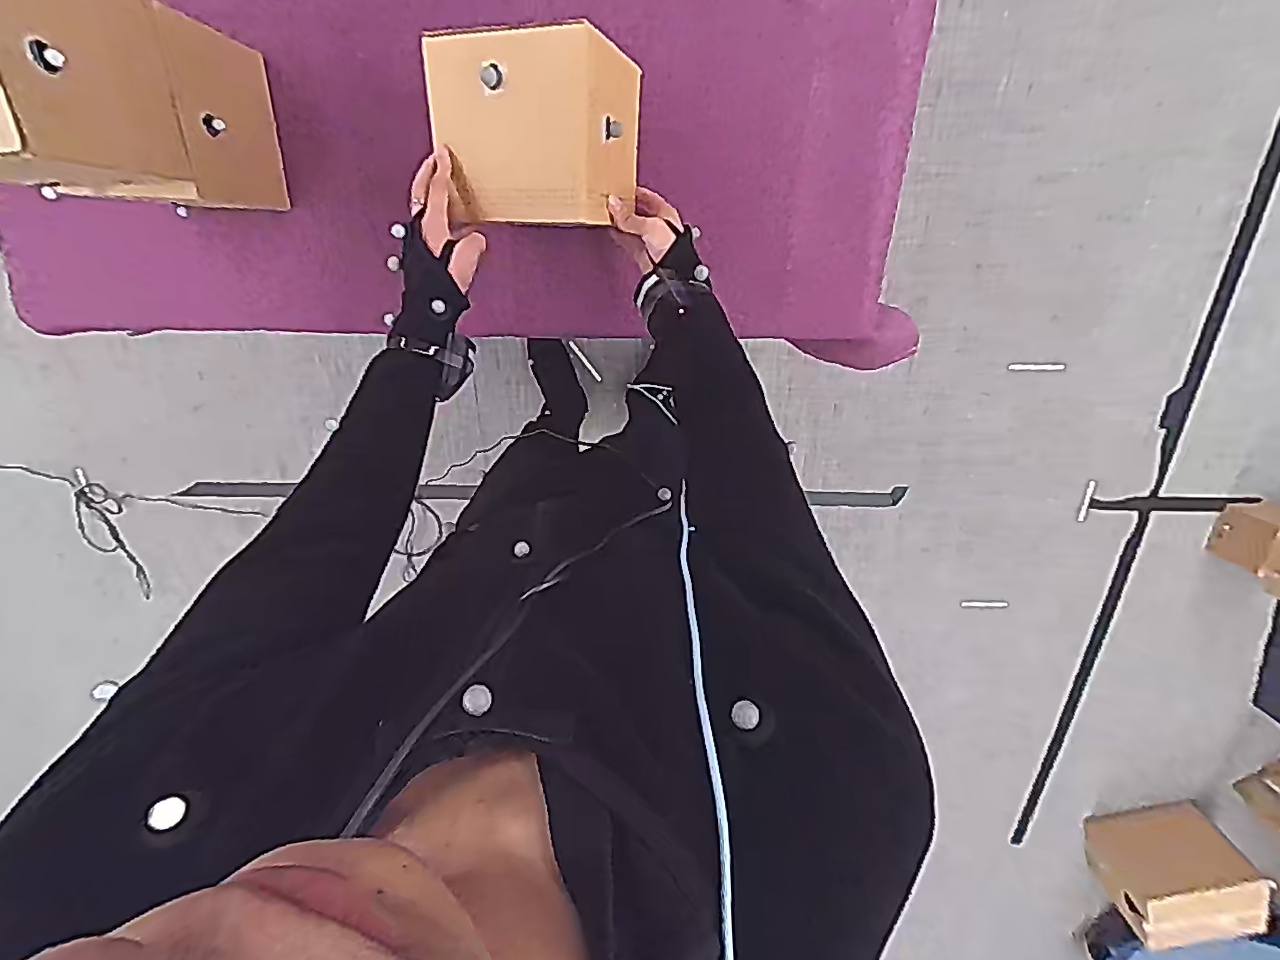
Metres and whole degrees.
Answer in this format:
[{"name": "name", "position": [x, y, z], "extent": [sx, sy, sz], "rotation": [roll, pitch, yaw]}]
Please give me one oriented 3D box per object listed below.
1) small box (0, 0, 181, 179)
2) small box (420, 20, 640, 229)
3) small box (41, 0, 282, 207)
[{"name": "small box", "position": [-0.553, -0.362, 0.461], "extent": [0.168, 0.176, 0.179], "rotation": [-1, 112, 1]}, {"name": "small box", "position": [-0.109, -0.375, 0.601], "extent": [0.179, 0.168, 0.176], "rotation": [9, 116, 16]}, {"name": "small box", "position": [-0.548, -0.416, 0.617], "extent": [0.168, 0.176, 0.179], "rotation": [3, 113, -1]}]
